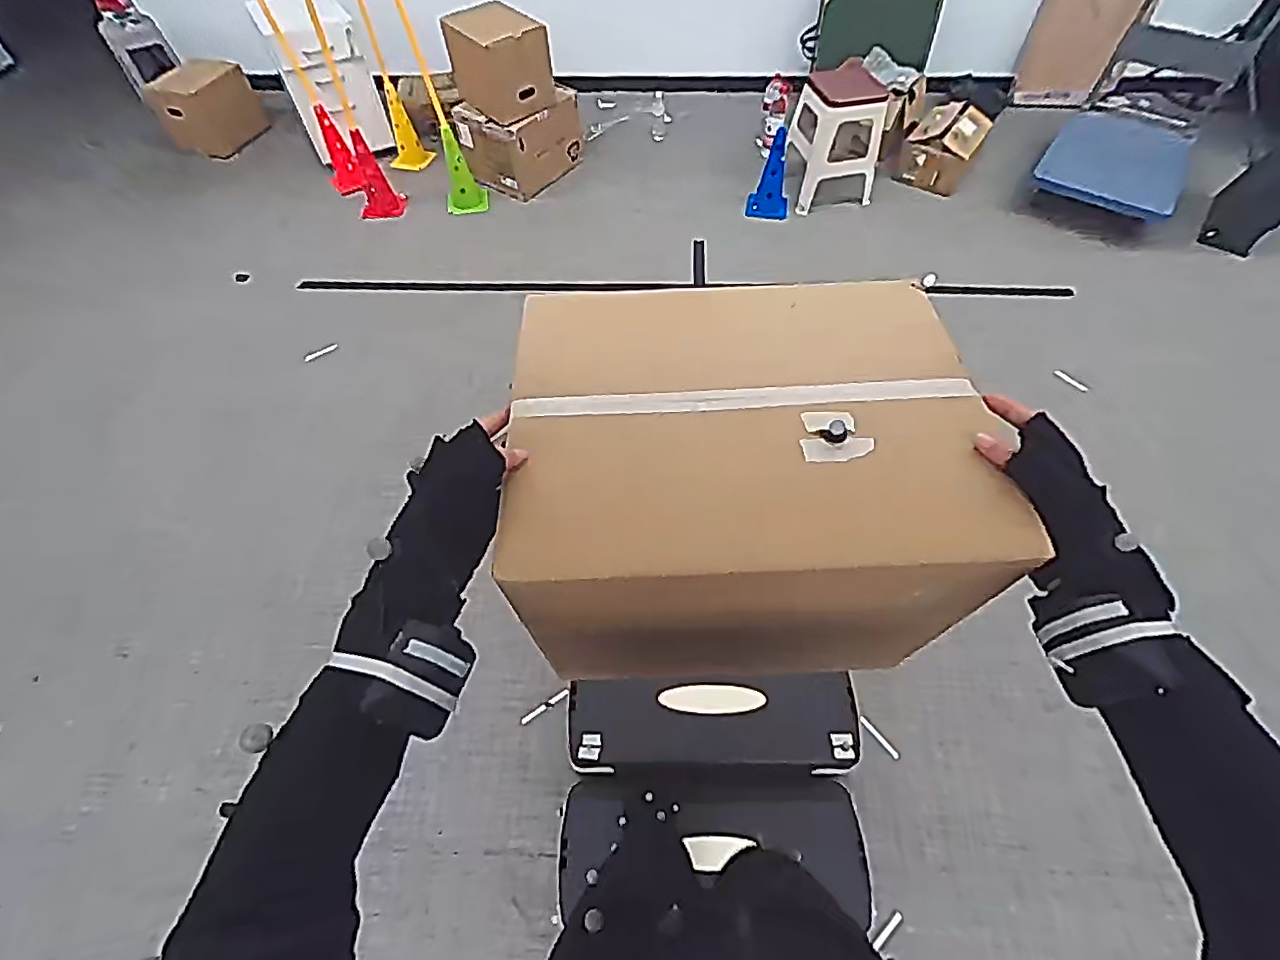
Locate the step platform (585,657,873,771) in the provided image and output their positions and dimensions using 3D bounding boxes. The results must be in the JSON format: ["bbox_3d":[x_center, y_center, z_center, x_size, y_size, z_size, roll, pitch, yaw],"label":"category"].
[{"bbox_3d":[0.206,0.553,1.342,0.684,0.204,0.286,0,57,0],"label":"step platform"}]

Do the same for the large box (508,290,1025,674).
[{"bbox_3d":[0.091,0.017,0.612,0.408,0.320,0.320,-2,58,0],"label":"large box"}]
